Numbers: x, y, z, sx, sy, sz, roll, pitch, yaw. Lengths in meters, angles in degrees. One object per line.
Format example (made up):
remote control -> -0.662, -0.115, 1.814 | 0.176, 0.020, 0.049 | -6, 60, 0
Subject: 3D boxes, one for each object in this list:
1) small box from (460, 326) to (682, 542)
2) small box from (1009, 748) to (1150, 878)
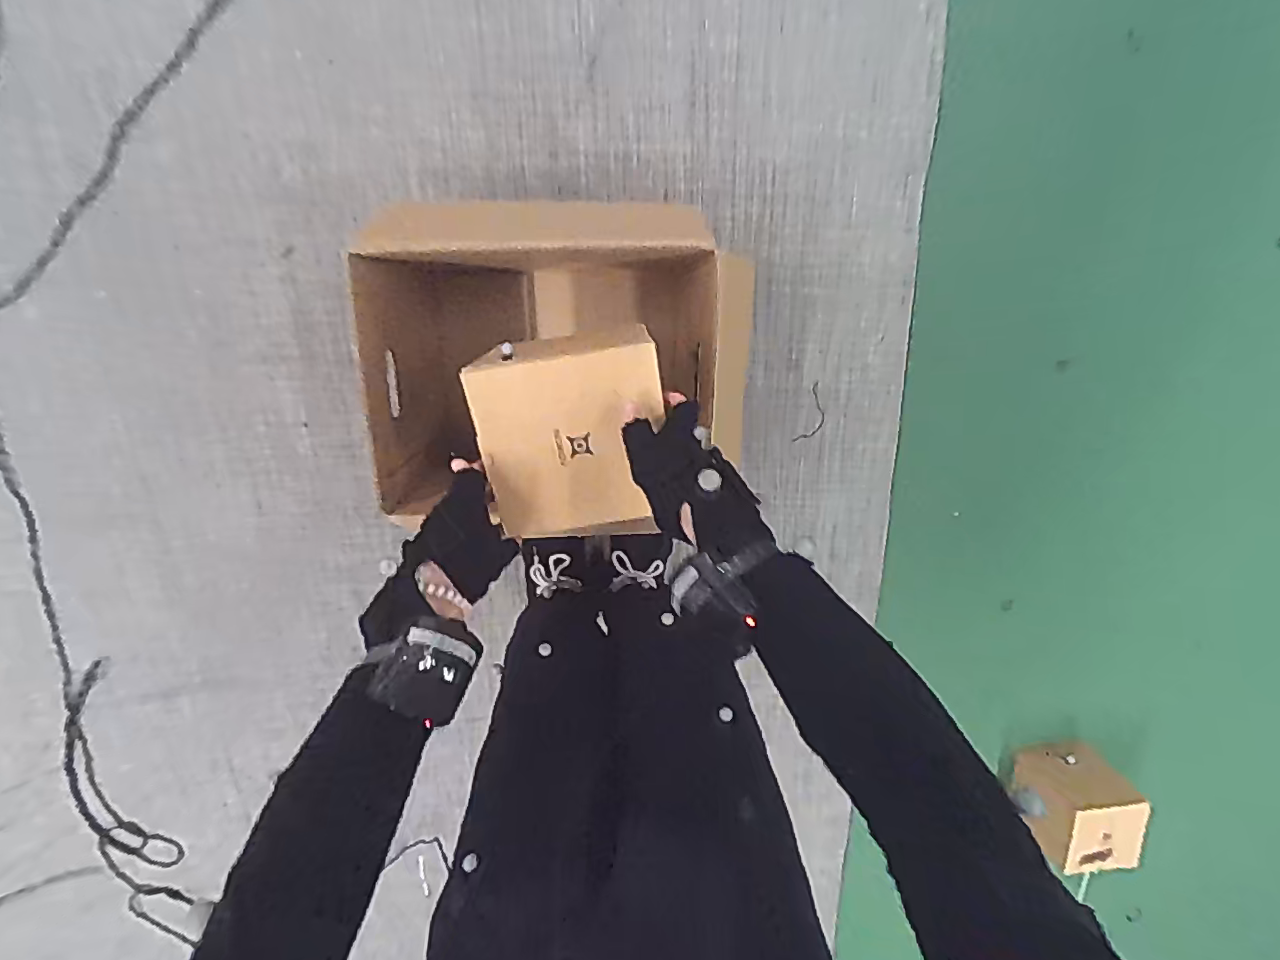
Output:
small box -> -0.060, -0.057, 0.557 | 0.179, 0.176, 0.168 | -8, 112, 2
small box -> 0.959, 0.730, 1.198 | 0.168, 0.176, 0.179 | -5, 106, -3
